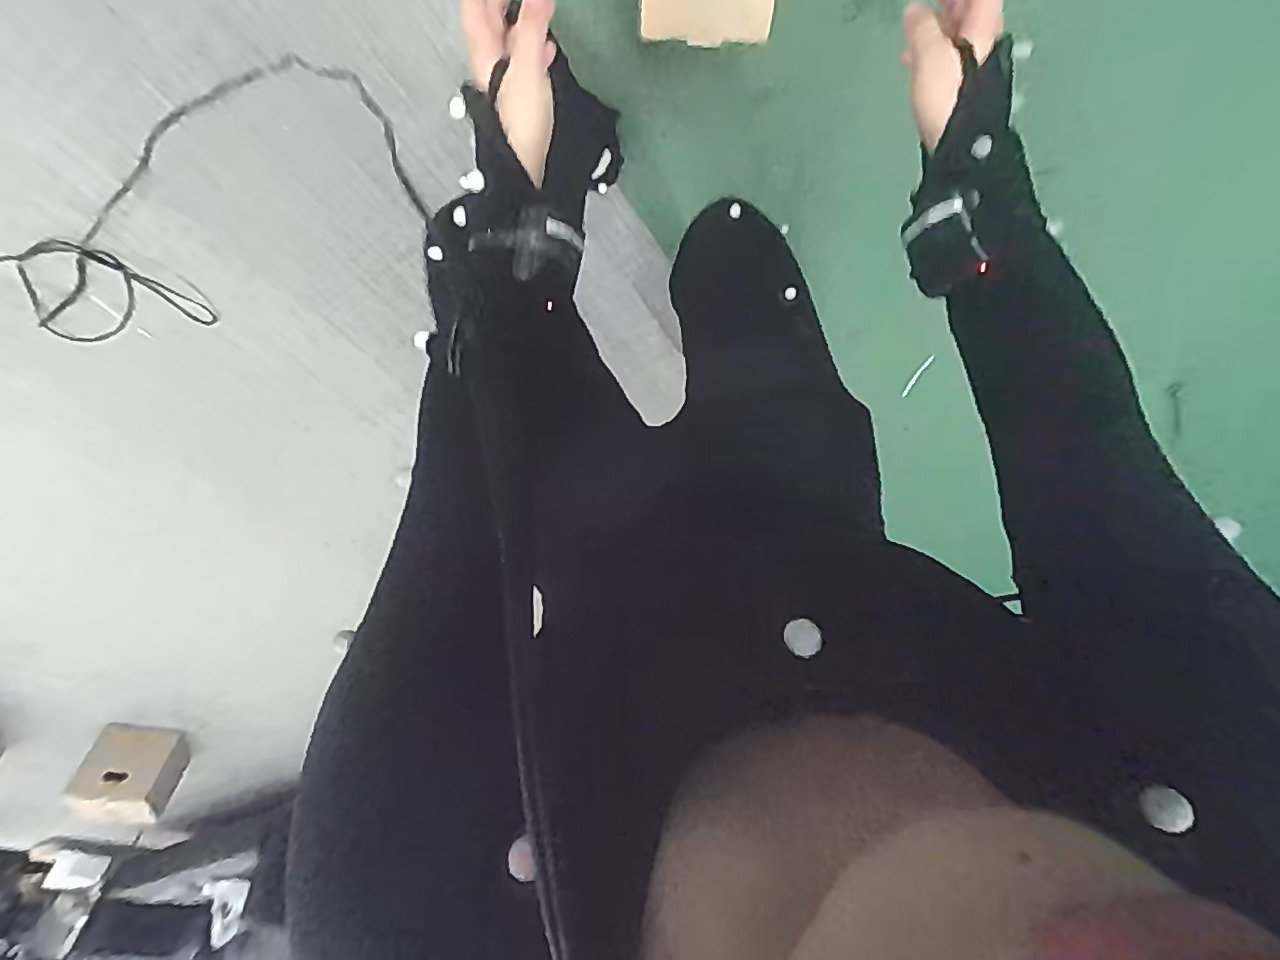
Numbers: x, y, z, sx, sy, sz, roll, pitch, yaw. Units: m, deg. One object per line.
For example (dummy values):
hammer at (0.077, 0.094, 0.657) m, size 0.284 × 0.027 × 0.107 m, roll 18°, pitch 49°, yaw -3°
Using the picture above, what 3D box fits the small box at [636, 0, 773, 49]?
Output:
small box at (0.081, -0.671, 0.685) m, size 0.168 × 0.176 × 0.179 m, roll 0°, pitch 134°, yaw -3°
